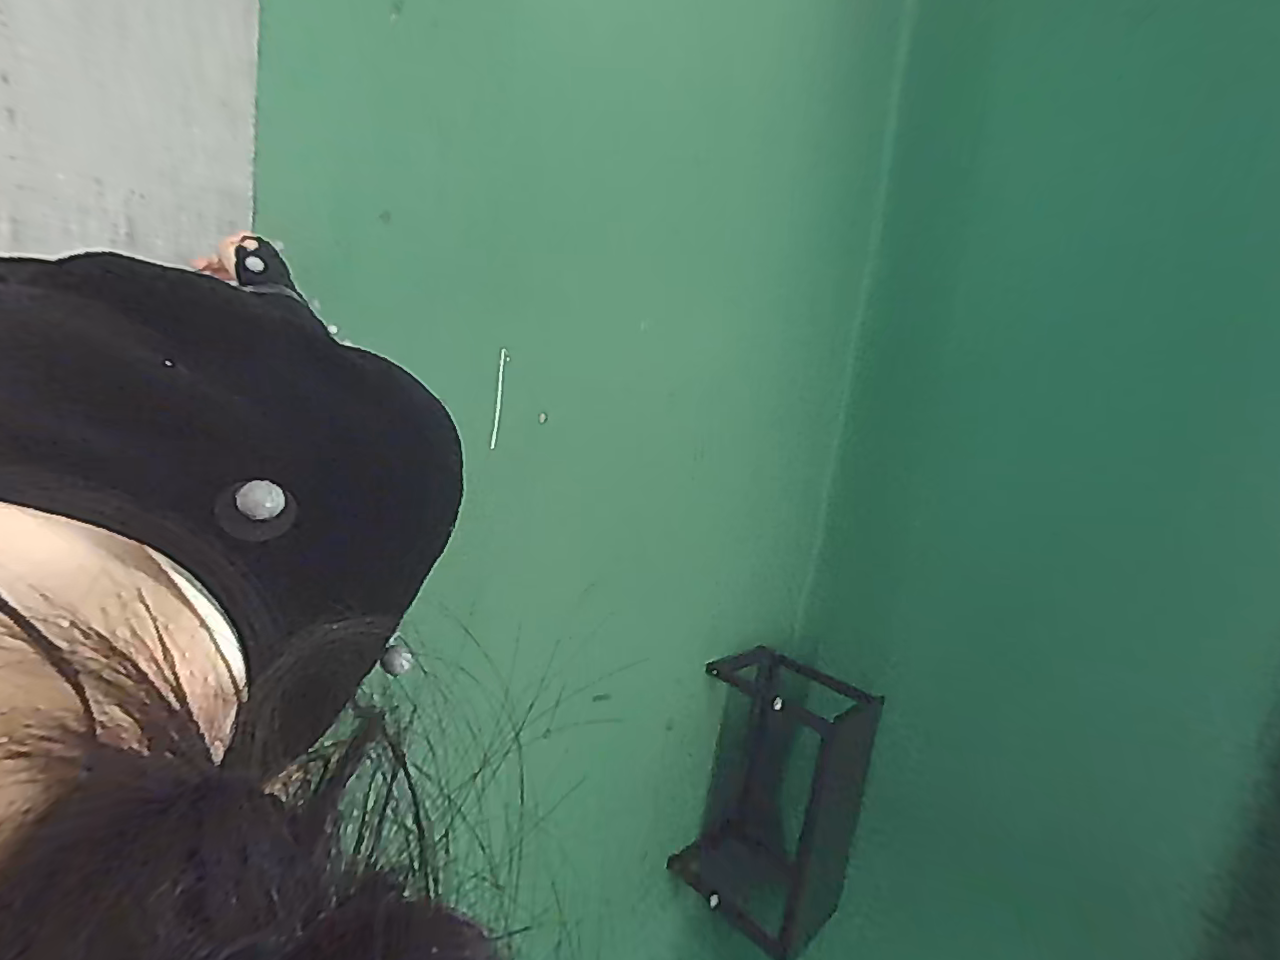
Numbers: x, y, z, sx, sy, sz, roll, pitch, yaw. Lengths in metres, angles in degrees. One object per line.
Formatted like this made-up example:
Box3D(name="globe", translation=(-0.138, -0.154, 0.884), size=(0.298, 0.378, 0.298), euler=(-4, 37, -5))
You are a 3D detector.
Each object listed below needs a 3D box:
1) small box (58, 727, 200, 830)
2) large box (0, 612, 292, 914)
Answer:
Box3D(name="small box", translation=(-0.867, 0.558, 0.929), size=(0.168, 0.176, 0.179), euler=(-12, 109, -44))
Box3D(name="large box", translation=(-1.025, 0.535, 1.120), size=(0.408, 0.320, 0.320), euler=(-20, 116, -44))
